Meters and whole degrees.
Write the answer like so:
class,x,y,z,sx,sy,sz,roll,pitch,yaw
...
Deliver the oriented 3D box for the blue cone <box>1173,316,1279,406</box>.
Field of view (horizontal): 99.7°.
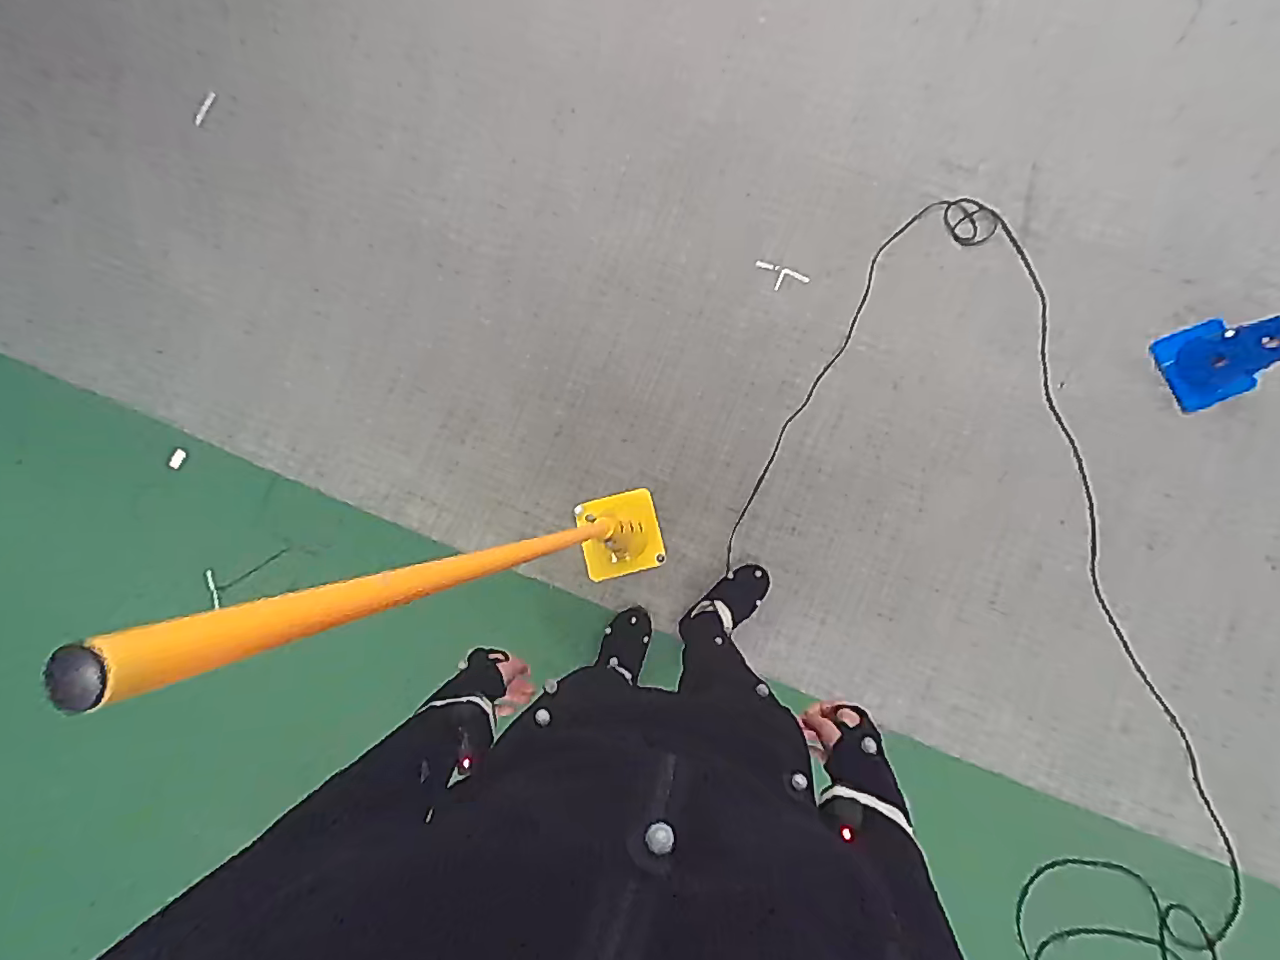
class,x,y,z,sx,sy,sz,roll,pitch,yaw
blue cone,1.403,-0.318,1.147,0.193,0.380,0.192,-23,82,-2
